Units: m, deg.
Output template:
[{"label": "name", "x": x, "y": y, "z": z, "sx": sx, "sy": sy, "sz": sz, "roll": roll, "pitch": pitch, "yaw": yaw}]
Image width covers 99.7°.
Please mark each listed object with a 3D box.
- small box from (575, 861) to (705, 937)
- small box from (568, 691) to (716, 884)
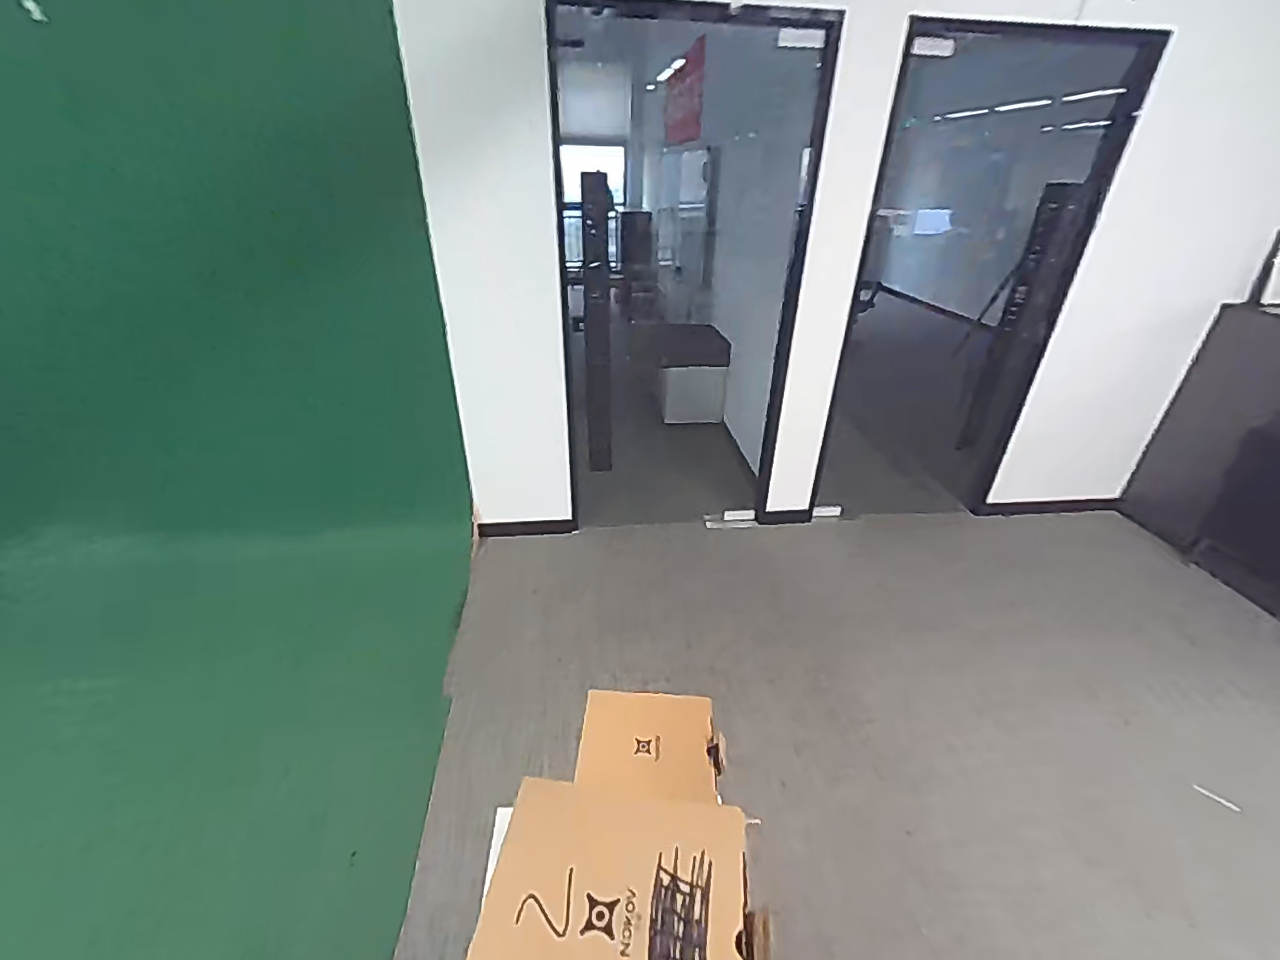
[{"label": "small box", "x": 0.006, "y": 0.554, "z": 0.818, "sx": 0.179, "sy": 0.176, "sz": 0.168, "roll": 2, "pitch": 30, "yaw": 3}, {"label": "small box", "x": 0.005, "y": 0.414, "z": 0.734, "sx": 0.179, "sy": 0.176, "sz": 0.168, "roll": 3, "pitch": 30, "yaw": 2}]
